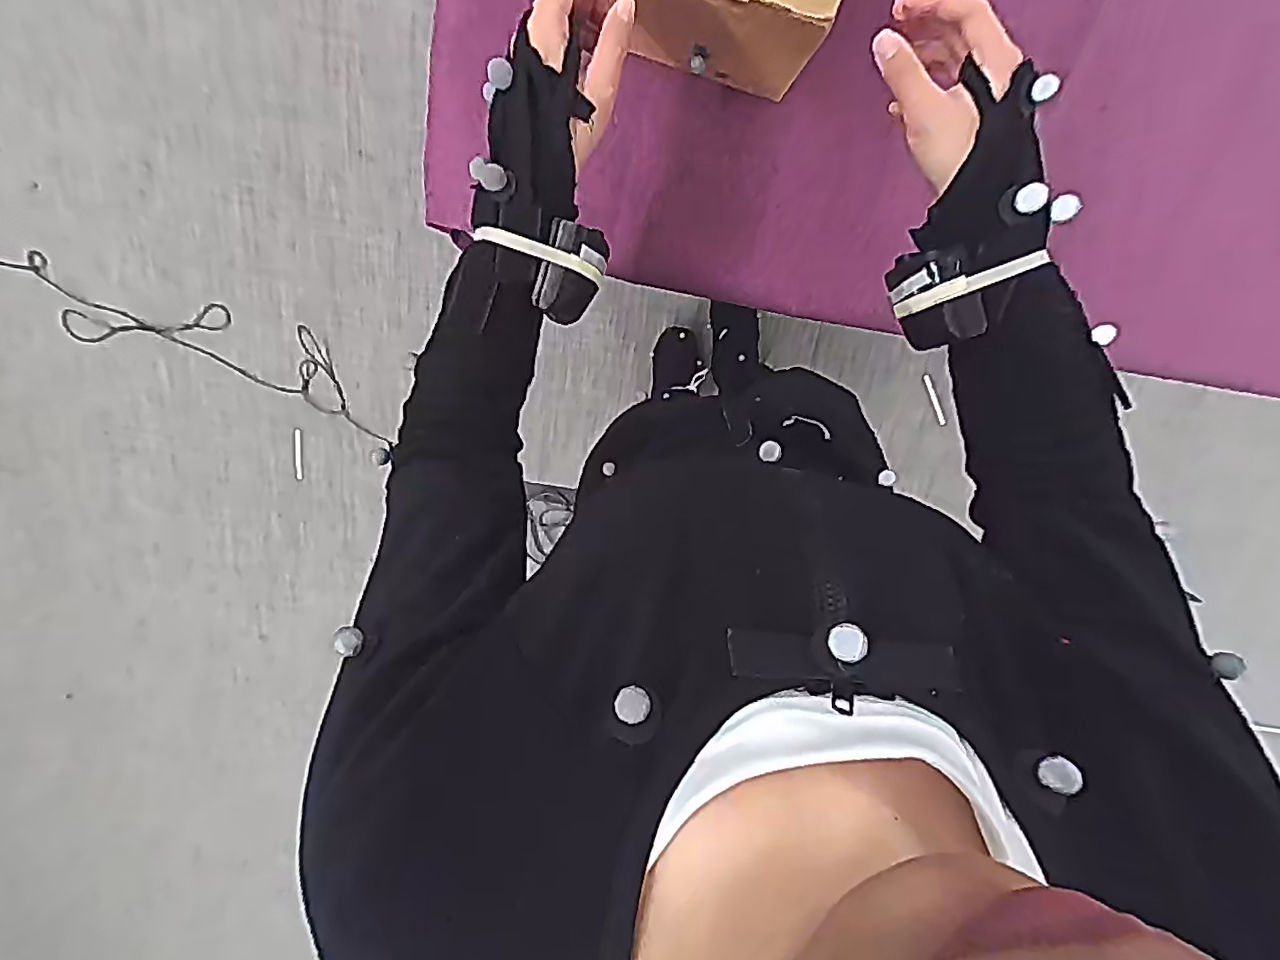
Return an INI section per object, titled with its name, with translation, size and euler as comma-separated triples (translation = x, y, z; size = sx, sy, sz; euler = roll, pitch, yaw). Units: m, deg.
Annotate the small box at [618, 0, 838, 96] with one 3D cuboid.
[small box]
translation = 0.078, -0.440, 0.412
size = 0.168, 0.176, 0.179
euler = 15, 109, -4
